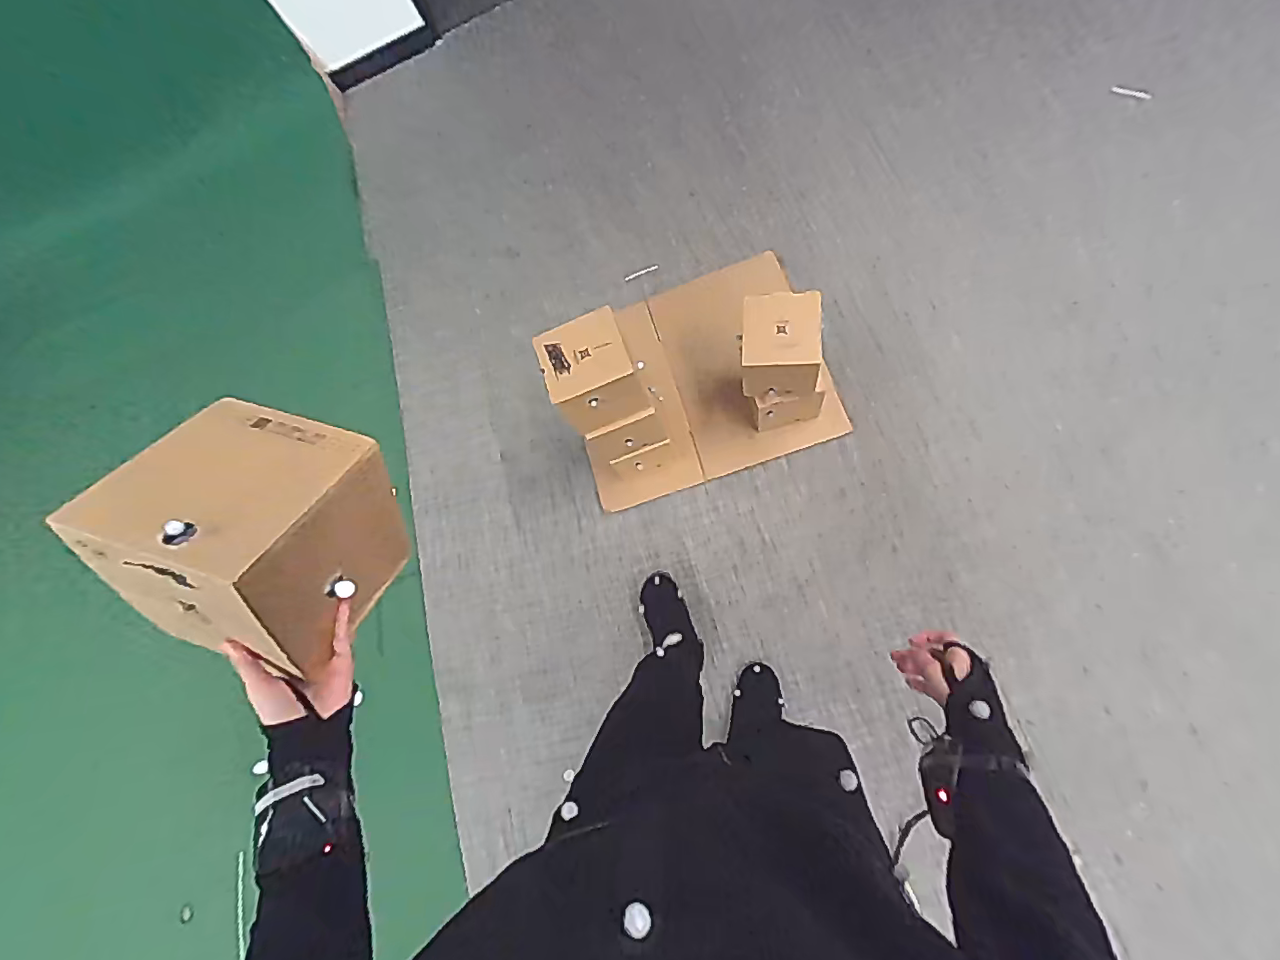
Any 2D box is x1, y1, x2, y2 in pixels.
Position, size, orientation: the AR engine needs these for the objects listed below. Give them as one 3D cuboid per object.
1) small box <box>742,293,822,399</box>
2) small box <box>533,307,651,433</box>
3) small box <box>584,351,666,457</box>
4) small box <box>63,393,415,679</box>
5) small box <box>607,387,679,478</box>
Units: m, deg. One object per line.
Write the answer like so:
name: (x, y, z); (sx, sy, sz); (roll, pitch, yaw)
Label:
small box: (0.318, -0.298, 1.226); (0.168, 0.176, 0.179); (1, 74, 13)
small box: (-0.095, -0.220, 1.129); (0.179, 0.176, 0.168); (-21, 70, 6)
small box: (-0.047, -0.168, 1.278); (0.168, 0.176, 0.179); (-20, 70, 7)
small box: (-0.339, 0.050, 0.507); (0.168, 0.179, 0.176); (16, 46, 8)
small box: (-0.006, -0.118, 1.430); (0.168, 0.176, 0.179); (-21, 70, 7)
